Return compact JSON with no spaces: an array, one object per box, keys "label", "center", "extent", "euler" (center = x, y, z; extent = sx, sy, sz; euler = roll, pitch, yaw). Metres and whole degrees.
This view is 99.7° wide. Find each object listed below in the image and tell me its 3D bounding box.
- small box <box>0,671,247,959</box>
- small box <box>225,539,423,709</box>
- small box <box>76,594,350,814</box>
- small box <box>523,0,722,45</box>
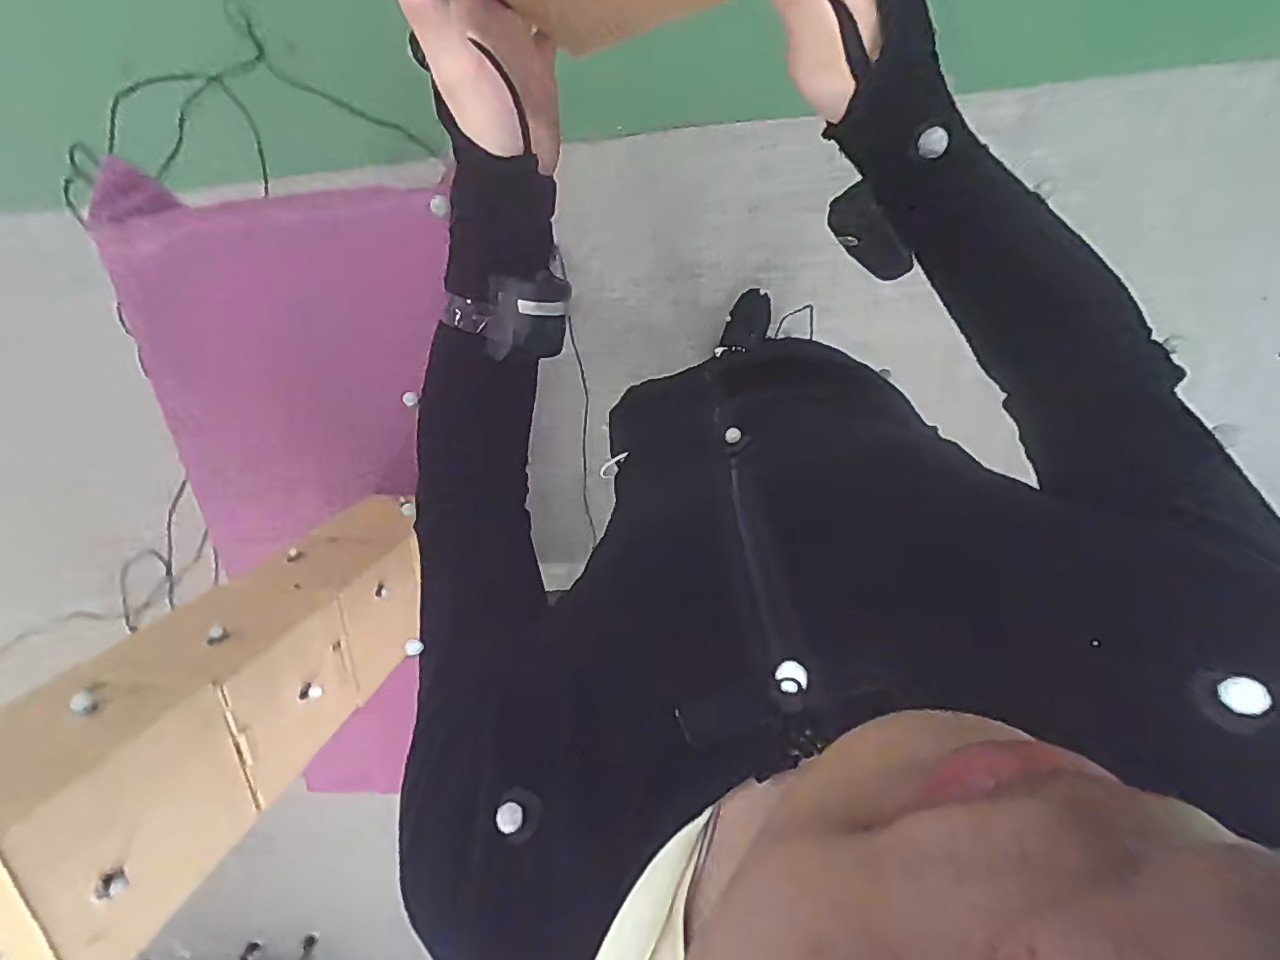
[{"label":"small box","center":[-0.489,0.295,0.468],"extent":[0.168,0.176,0.179],"euler":[0,107,9]},{"label":"small box","center":[-0.436,0.195,0.776],"extent":[0.168,0.176,0.179],"euler":[2,108,8]},{"label":"small box","center":[-0.464,0.244,0.623],"extent":[0.179,0.176,0.168],"euler":[1,107,7]},{"label":"small box","center":[-0.007,-0.368,0.270],"extent":[0.179,0.176,0.168],"euler":[2,106,28]}]
